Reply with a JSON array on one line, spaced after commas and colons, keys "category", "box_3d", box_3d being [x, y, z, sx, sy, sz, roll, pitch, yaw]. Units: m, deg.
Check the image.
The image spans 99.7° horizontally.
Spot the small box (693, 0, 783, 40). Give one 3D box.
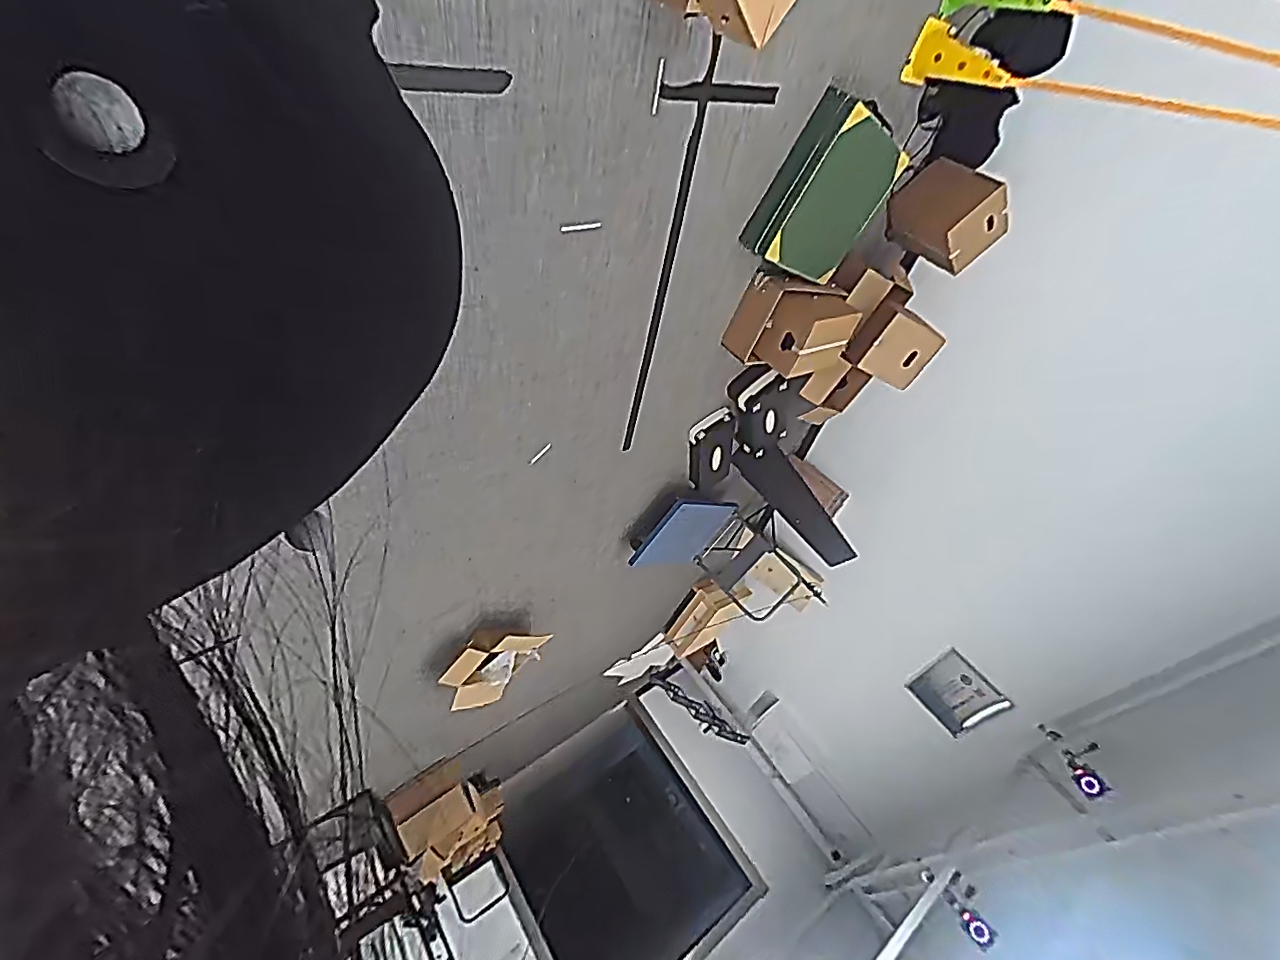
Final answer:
[{"category": "small box", "box_3d": [0.234, -1.177, 1.262, 0.179, 0.176, 0.168, -51, 152, 16]}]

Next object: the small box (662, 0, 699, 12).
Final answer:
[{"category": "small box", "box_3d": [0.125, -1.284, 1.332, 0.168, 0.176, 0.179, -24, 147, -33]}]
